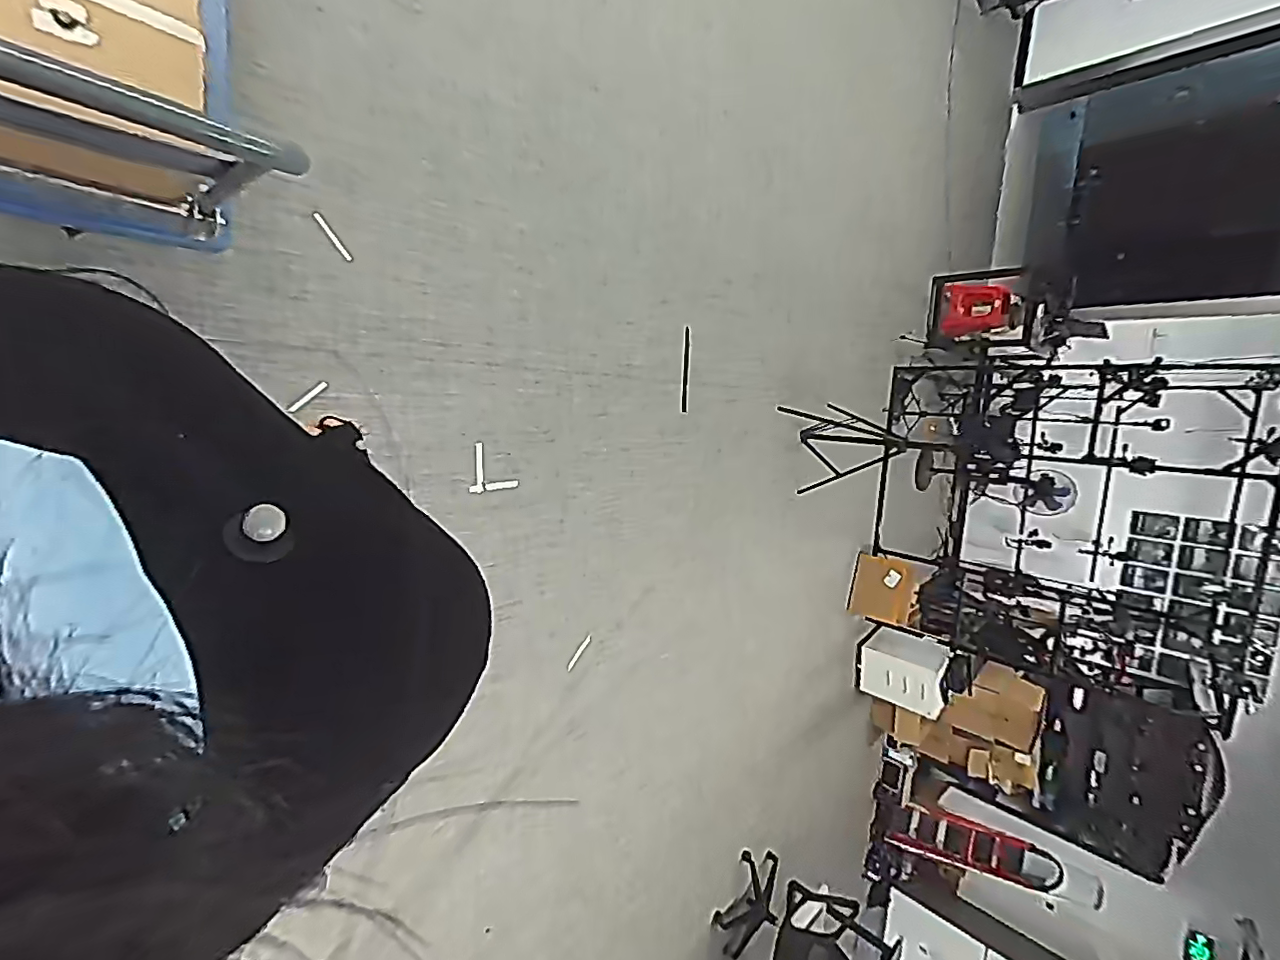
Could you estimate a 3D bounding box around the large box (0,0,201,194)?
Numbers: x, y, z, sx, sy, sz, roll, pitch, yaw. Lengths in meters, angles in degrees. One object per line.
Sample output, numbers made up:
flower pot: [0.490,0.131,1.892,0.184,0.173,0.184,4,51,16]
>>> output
large box: [-0.884,-0.640,0.728,0.408,0.320,0.320,-4,101,-48]
